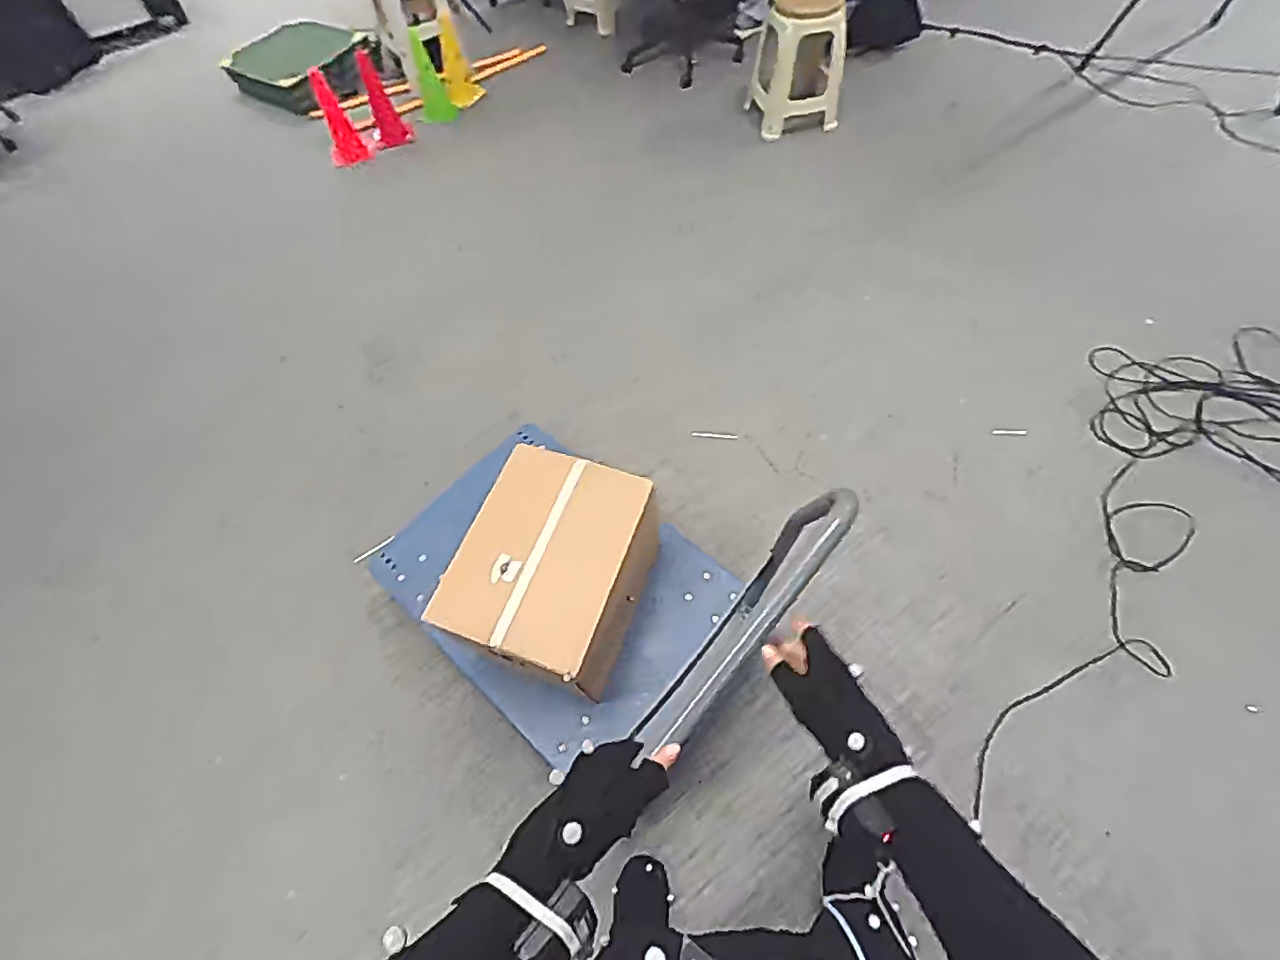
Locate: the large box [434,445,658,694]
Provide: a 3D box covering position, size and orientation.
[{"bbox_3d":[-0.163,0.197,1.169,0.320,0.320,0.408,15,64,13],"label":"large box"}]
